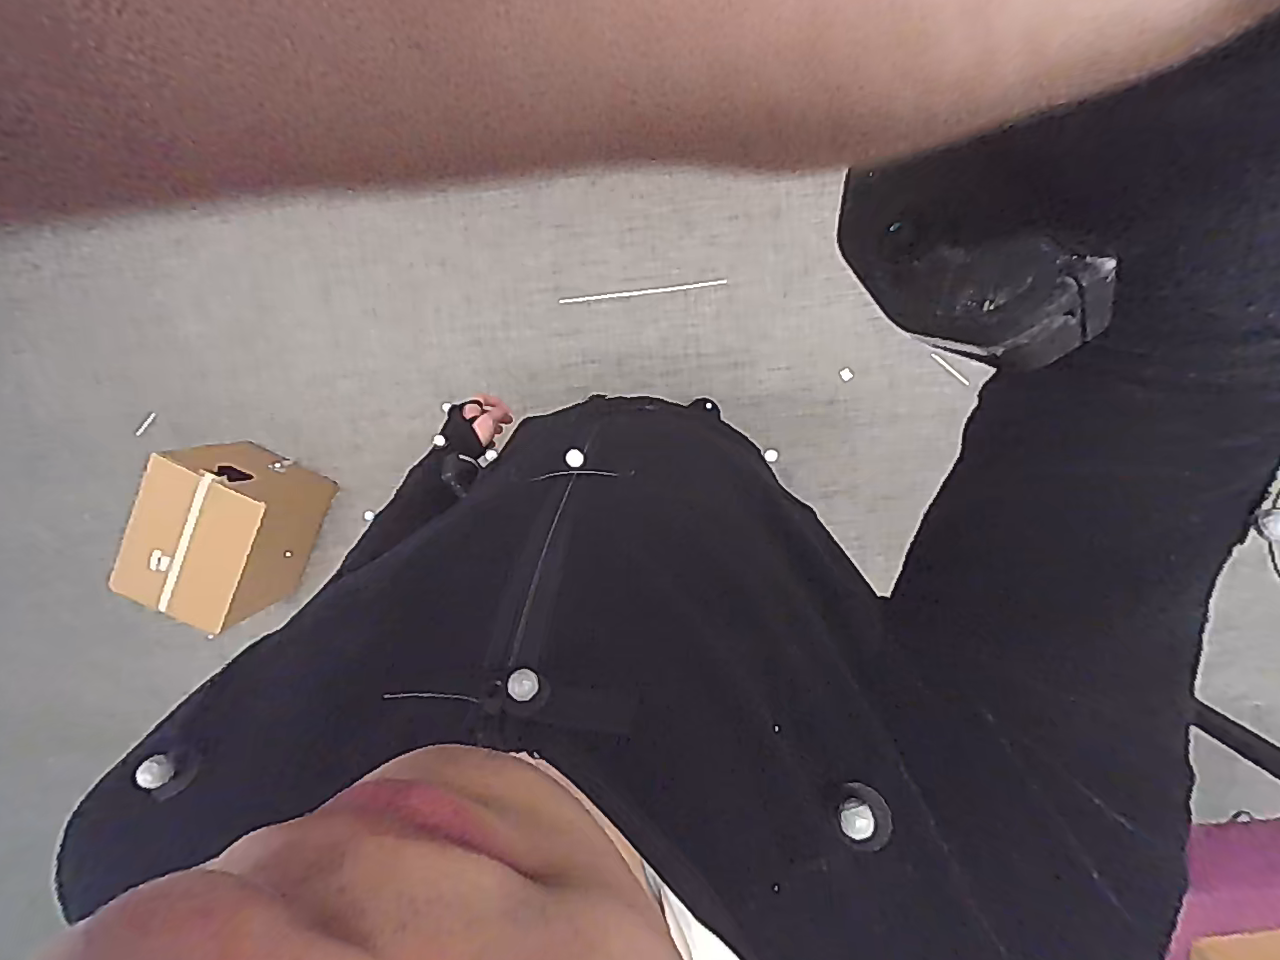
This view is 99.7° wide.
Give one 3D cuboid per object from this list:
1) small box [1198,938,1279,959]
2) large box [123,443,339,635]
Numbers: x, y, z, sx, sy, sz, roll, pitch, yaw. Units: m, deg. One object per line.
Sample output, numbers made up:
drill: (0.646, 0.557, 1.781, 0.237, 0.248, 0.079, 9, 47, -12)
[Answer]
small box: (1.130, 0.940, 0.934, 0.179, 0.176, 0.168, -8, 100, 2)
large box: (-1.142, 0.147, 1.543, 0.320, 0.320, 0.408, 26, 101, -2)
